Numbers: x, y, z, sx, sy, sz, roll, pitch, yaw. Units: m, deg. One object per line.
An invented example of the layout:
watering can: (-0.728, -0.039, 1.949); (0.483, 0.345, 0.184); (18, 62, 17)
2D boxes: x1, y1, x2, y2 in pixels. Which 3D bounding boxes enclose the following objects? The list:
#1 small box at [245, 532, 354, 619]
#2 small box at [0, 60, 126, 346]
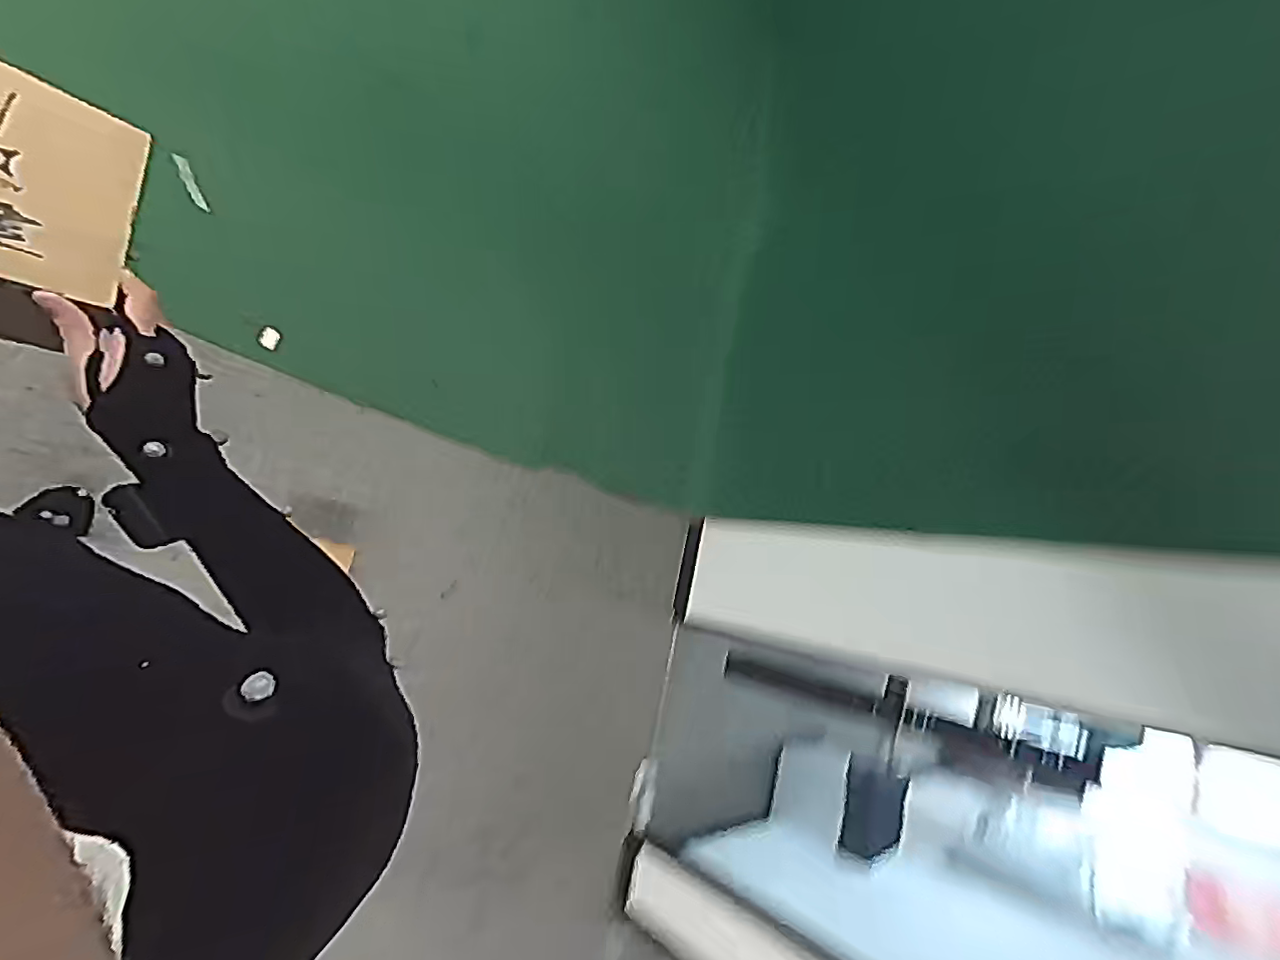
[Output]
small box: (-0.872, 0.240, 1.380); (0.168, 0.176, 0.179); (30, 70, -42)
small box: (-0.555, -0.227, 0.438); (0.168, 0.176, 0.179); (12, 75, -50)
